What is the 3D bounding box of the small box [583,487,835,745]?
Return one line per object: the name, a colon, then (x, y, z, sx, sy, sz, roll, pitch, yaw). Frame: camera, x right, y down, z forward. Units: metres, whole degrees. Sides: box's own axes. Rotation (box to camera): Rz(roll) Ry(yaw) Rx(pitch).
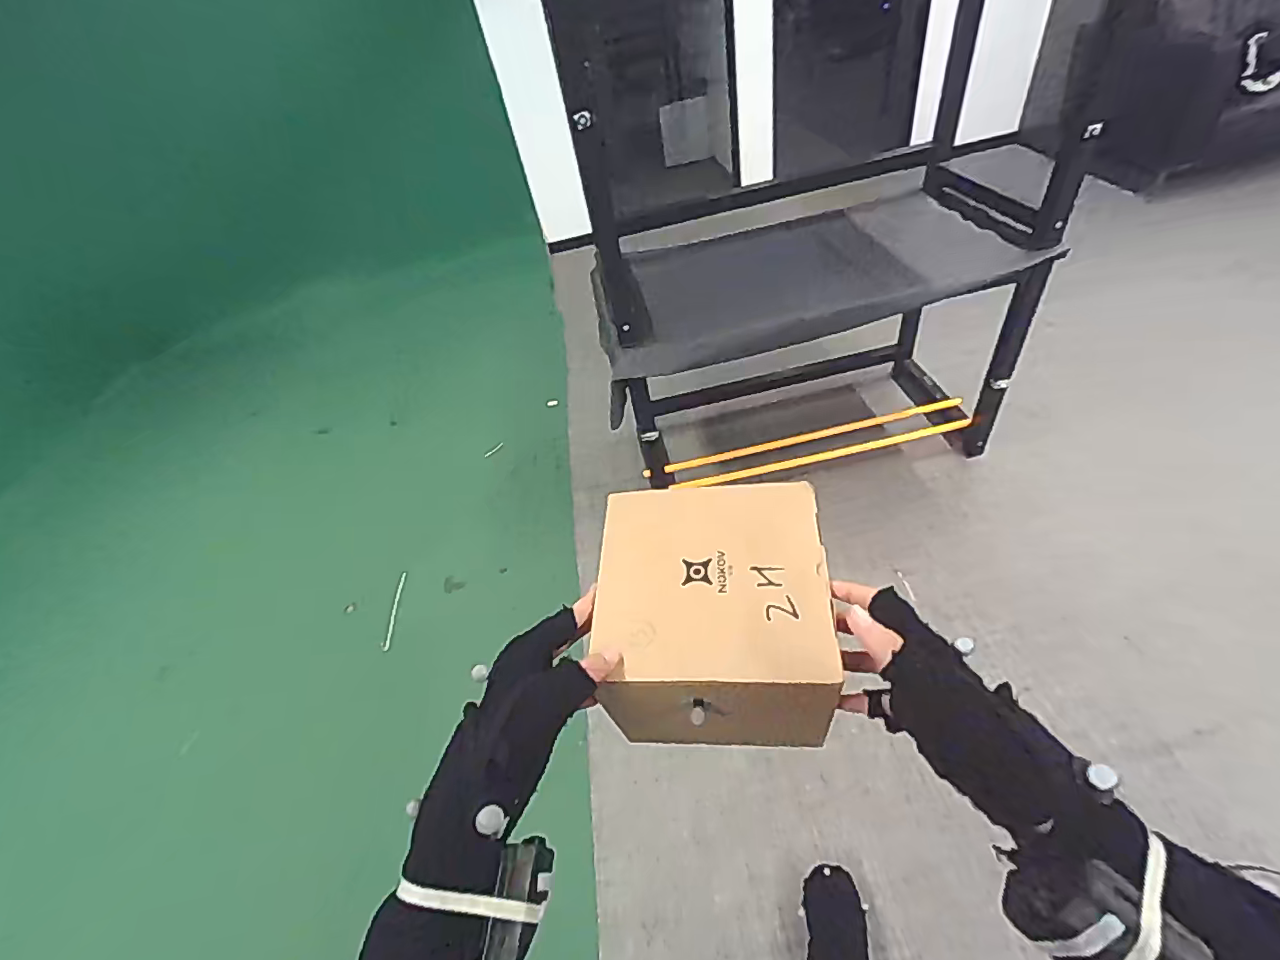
small box: (0.065, 0.123, 0.475, 0.179, 0.176, 0.168, -2, 51, 11)
